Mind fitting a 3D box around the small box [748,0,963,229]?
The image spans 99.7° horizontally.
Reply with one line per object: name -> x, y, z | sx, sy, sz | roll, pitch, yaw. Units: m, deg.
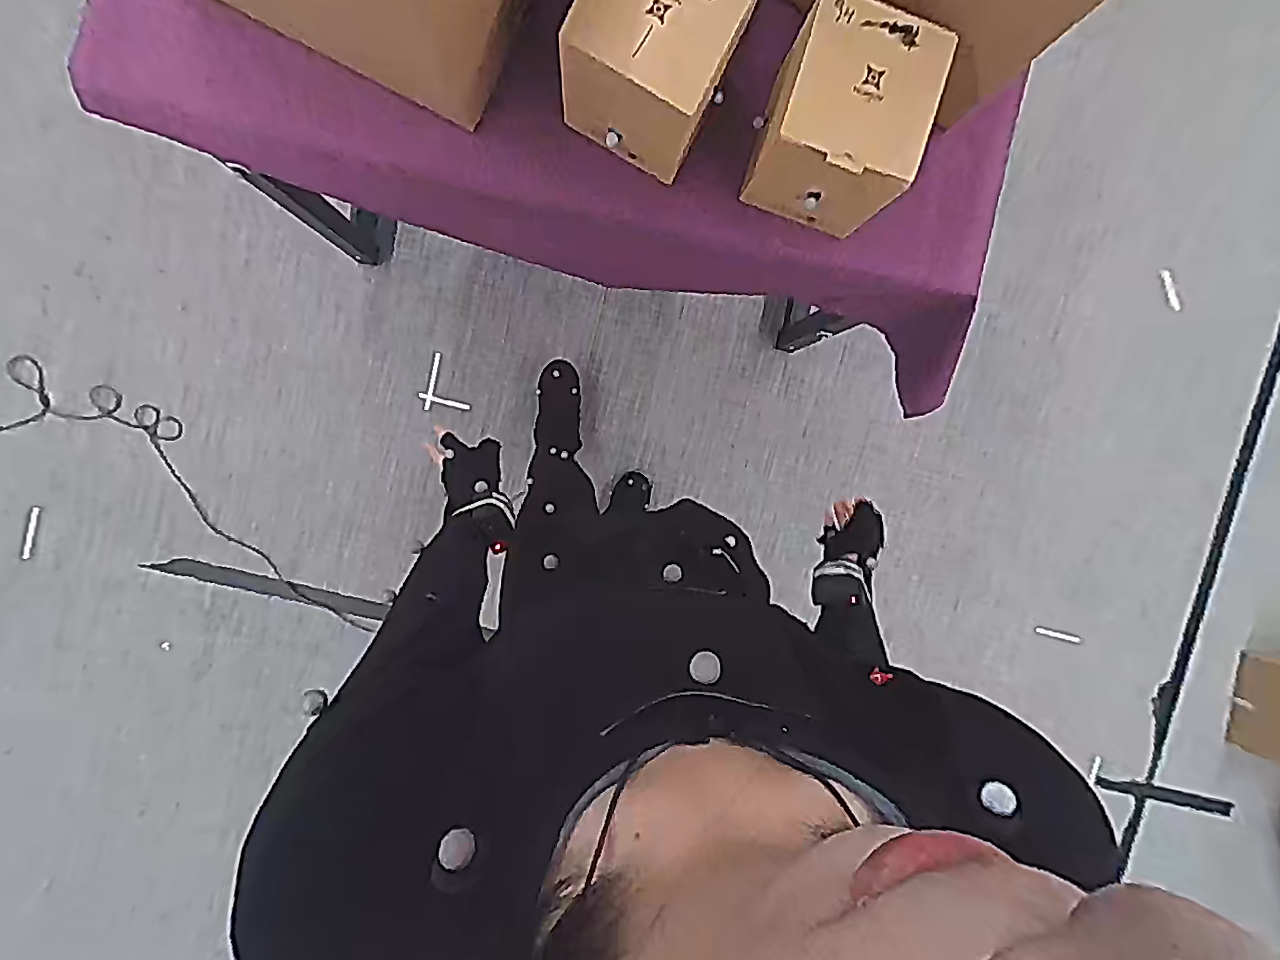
small box -> 0.249, -0.446, 0.674 | 0.168, 0.176, 0.179 | 17, 93, -7
